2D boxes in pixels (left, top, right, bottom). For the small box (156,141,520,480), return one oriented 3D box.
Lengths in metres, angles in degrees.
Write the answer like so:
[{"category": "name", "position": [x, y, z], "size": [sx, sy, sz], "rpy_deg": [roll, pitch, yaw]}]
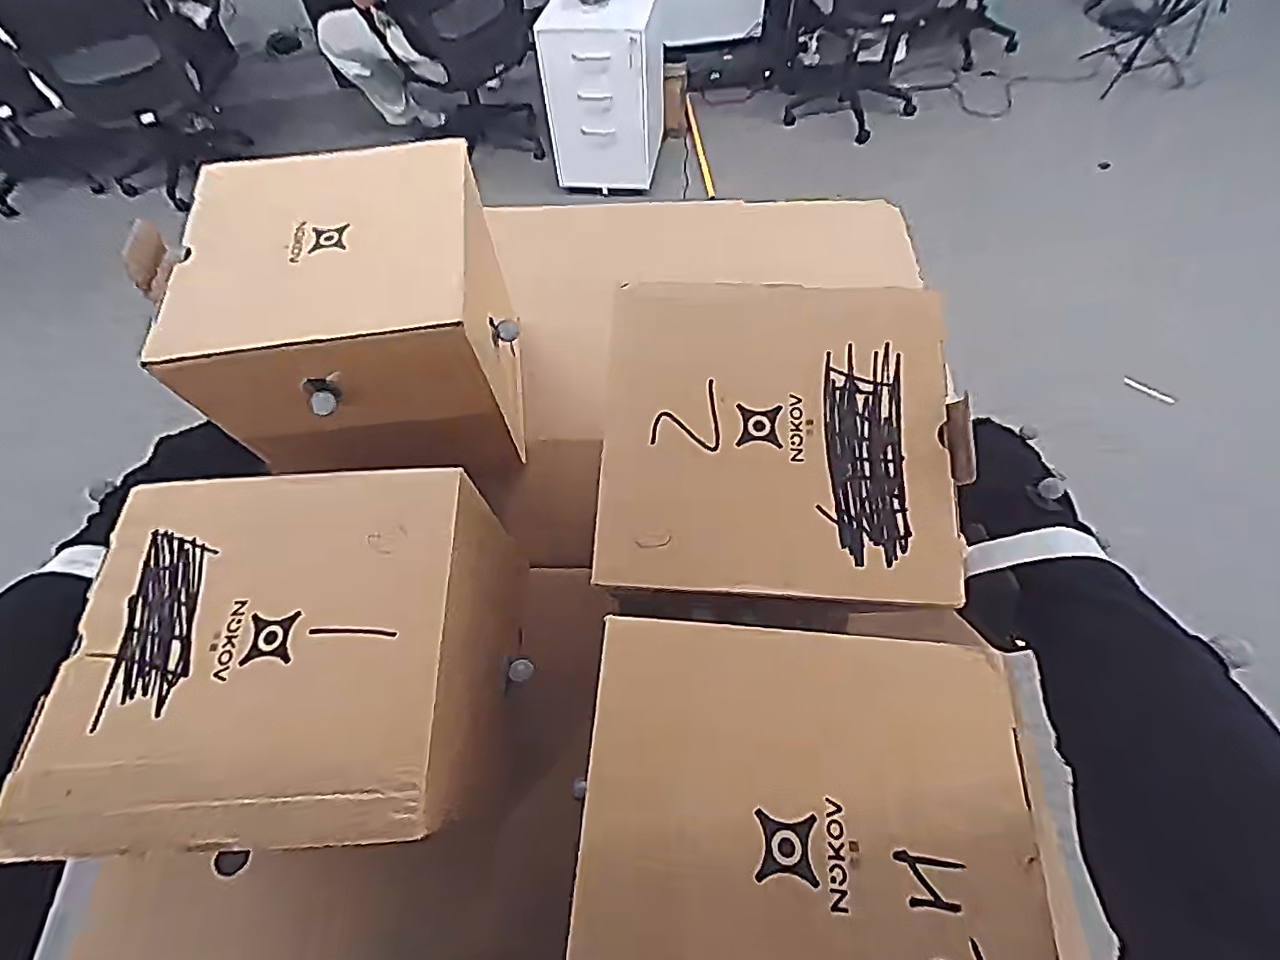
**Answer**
[{"category": "small box", "position": [-0.192, -0.115, 0.410], "size": [0.179, 0.176, 0.168], "rpy_deg": [-9, 63, -1]}]
